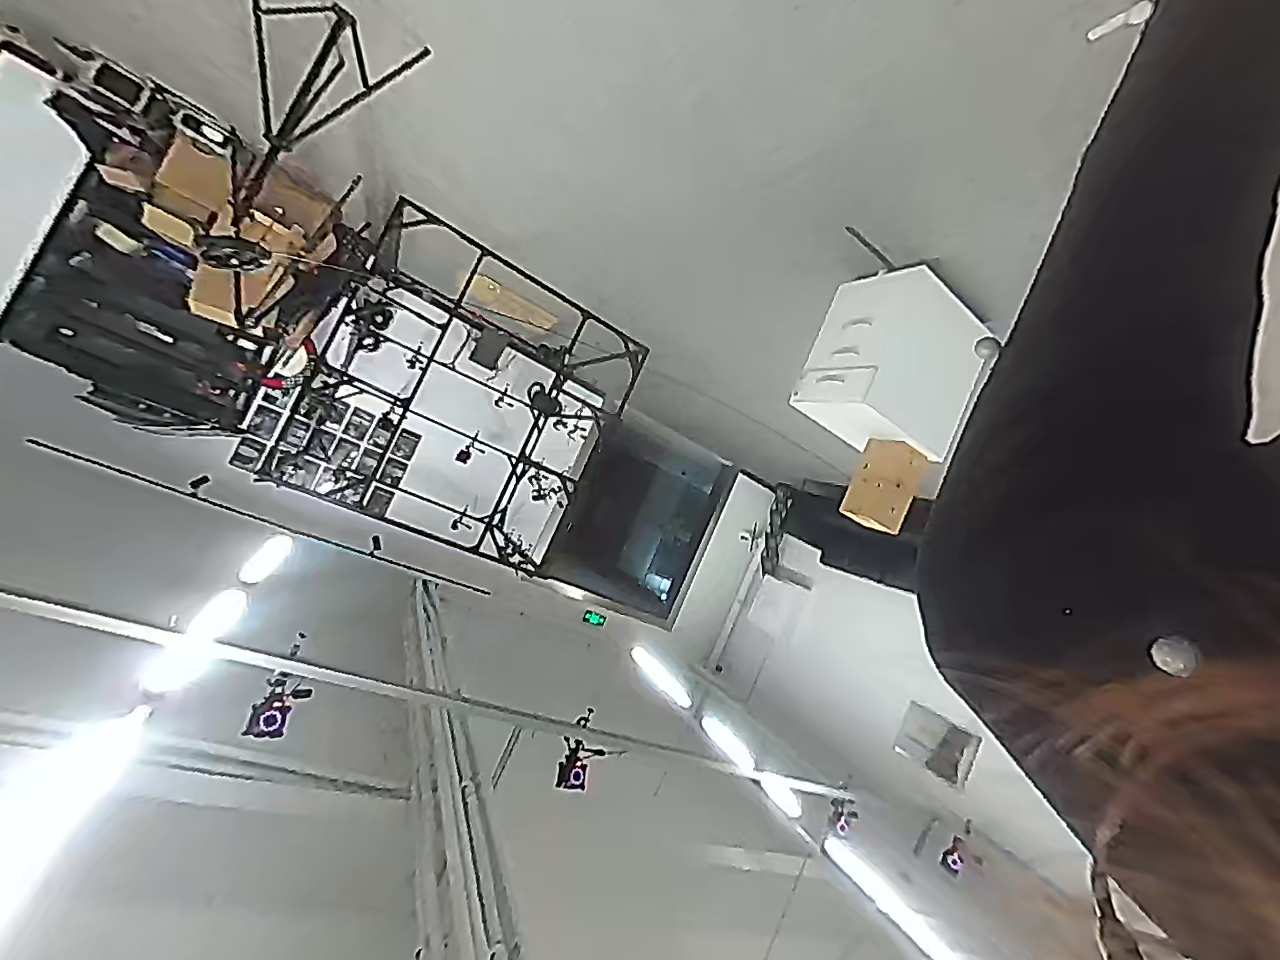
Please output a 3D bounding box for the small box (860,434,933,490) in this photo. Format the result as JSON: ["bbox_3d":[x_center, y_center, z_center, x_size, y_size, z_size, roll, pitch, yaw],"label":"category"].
[{"bbox_3d":[1.039,-0.078,2.186,0.168,0.176,0.179,25,177,-26],"label":"small box"}]

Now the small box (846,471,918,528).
[{"bbox_3d":[0.975,0.074,2.175,0.179,0.176,0.168,25,178,-26],"label":"small box"}]
